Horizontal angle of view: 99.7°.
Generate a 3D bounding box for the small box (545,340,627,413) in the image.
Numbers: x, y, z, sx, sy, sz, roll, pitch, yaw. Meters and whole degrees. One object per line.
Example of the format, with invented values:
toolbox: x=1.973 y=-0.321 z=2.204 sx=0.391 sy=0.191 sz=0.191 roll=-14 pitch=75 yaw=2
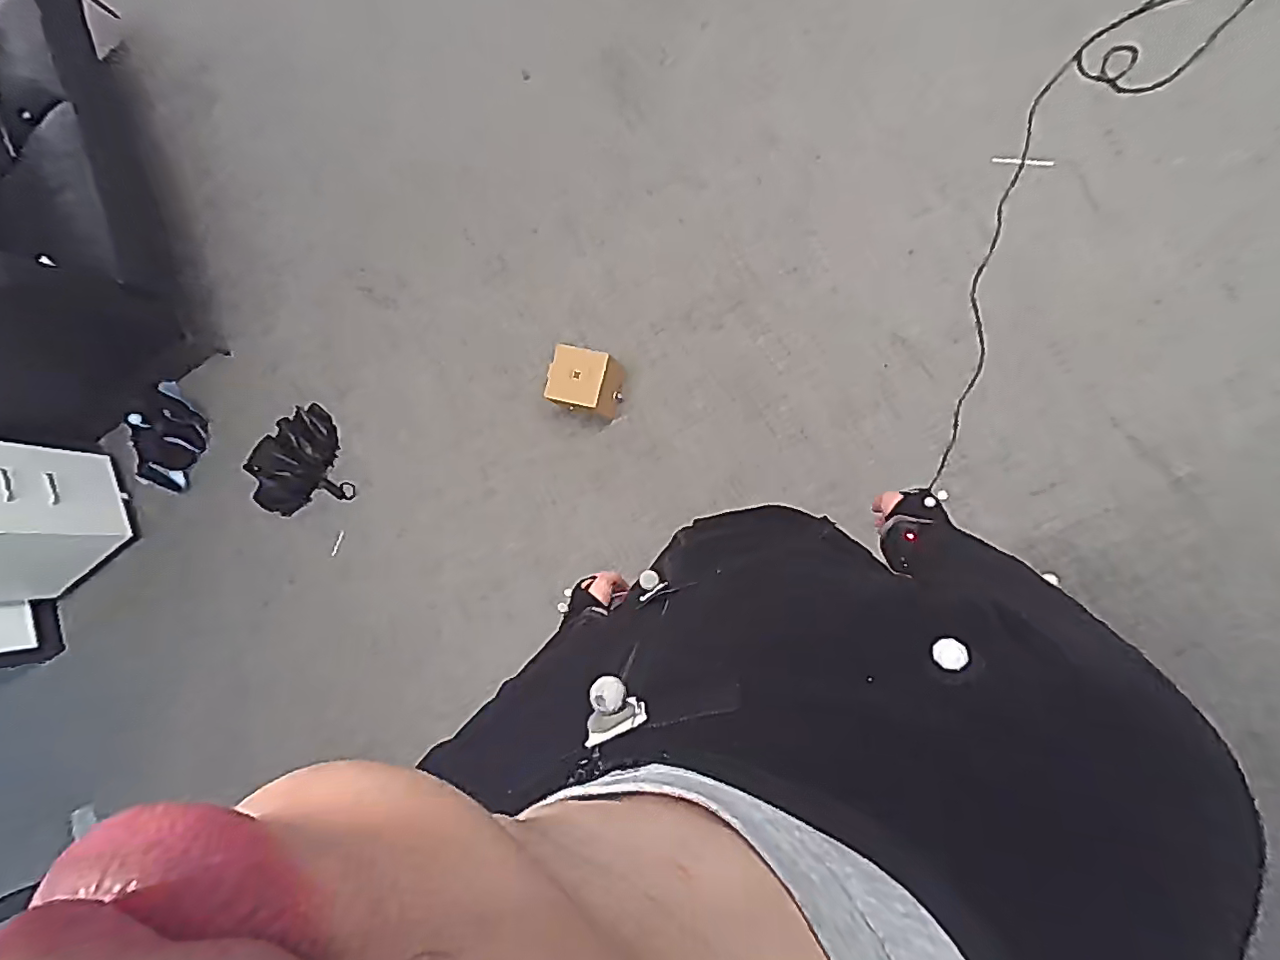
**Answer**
small box: x=-0.161 y=-0.310 z=1.653 sx=0.179 sy=0.176 sz=0.168 roll=14 pitch=89 yaw=17
